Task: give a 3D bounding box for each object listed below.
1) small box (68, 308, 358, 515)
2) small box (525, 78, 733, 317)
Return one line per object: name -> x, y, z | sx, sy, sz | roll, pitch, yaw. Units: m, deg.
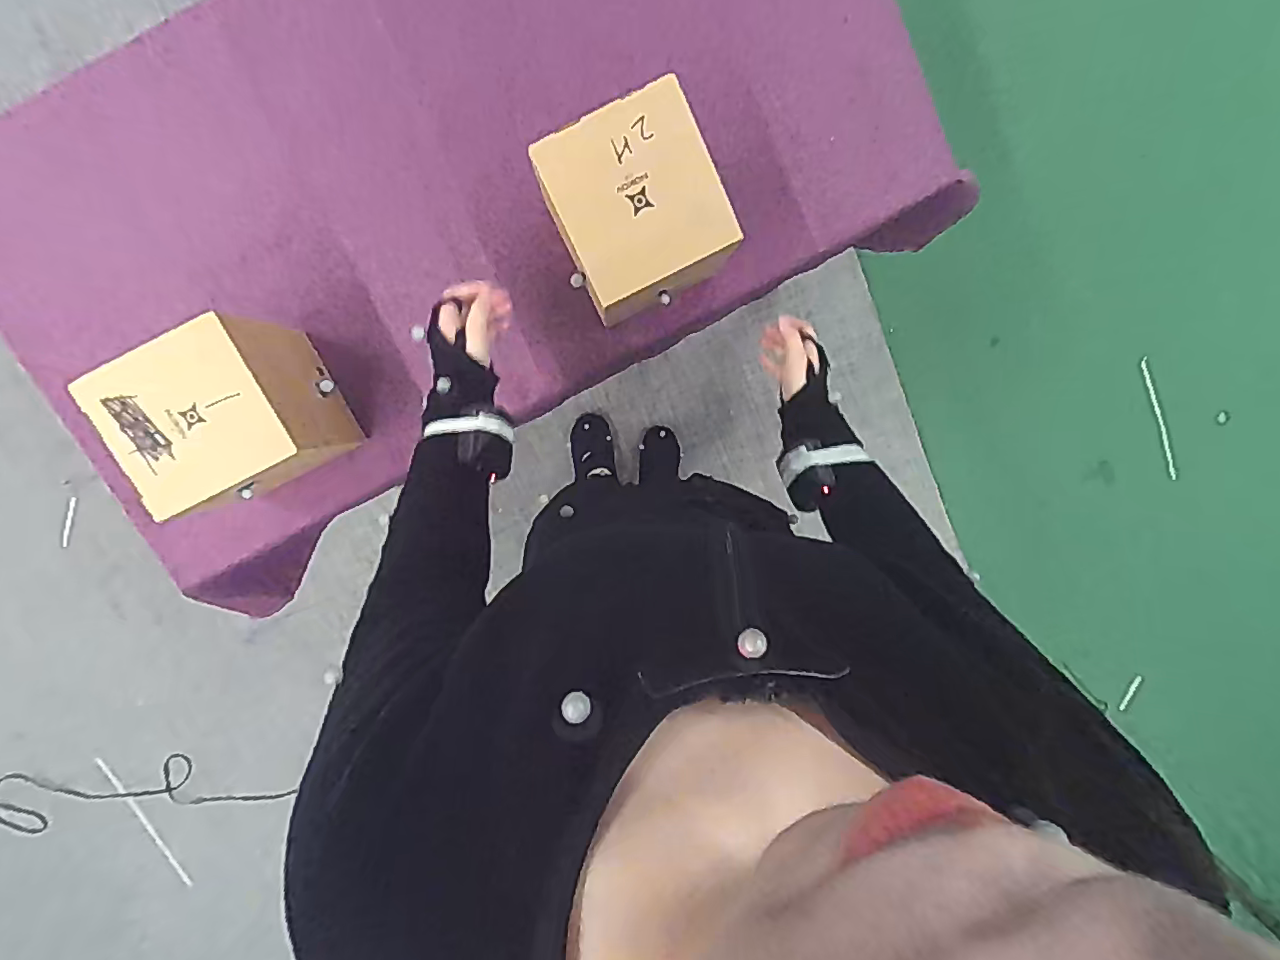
small box -> -0.484, -0.080, 0.646 | 0.179, 0.176, 0.168 | -26, 99, 1
small box -> -0.011, -0.305, 0.633 | 0.168, 0.176, 0.179 | -25, 99, 1
